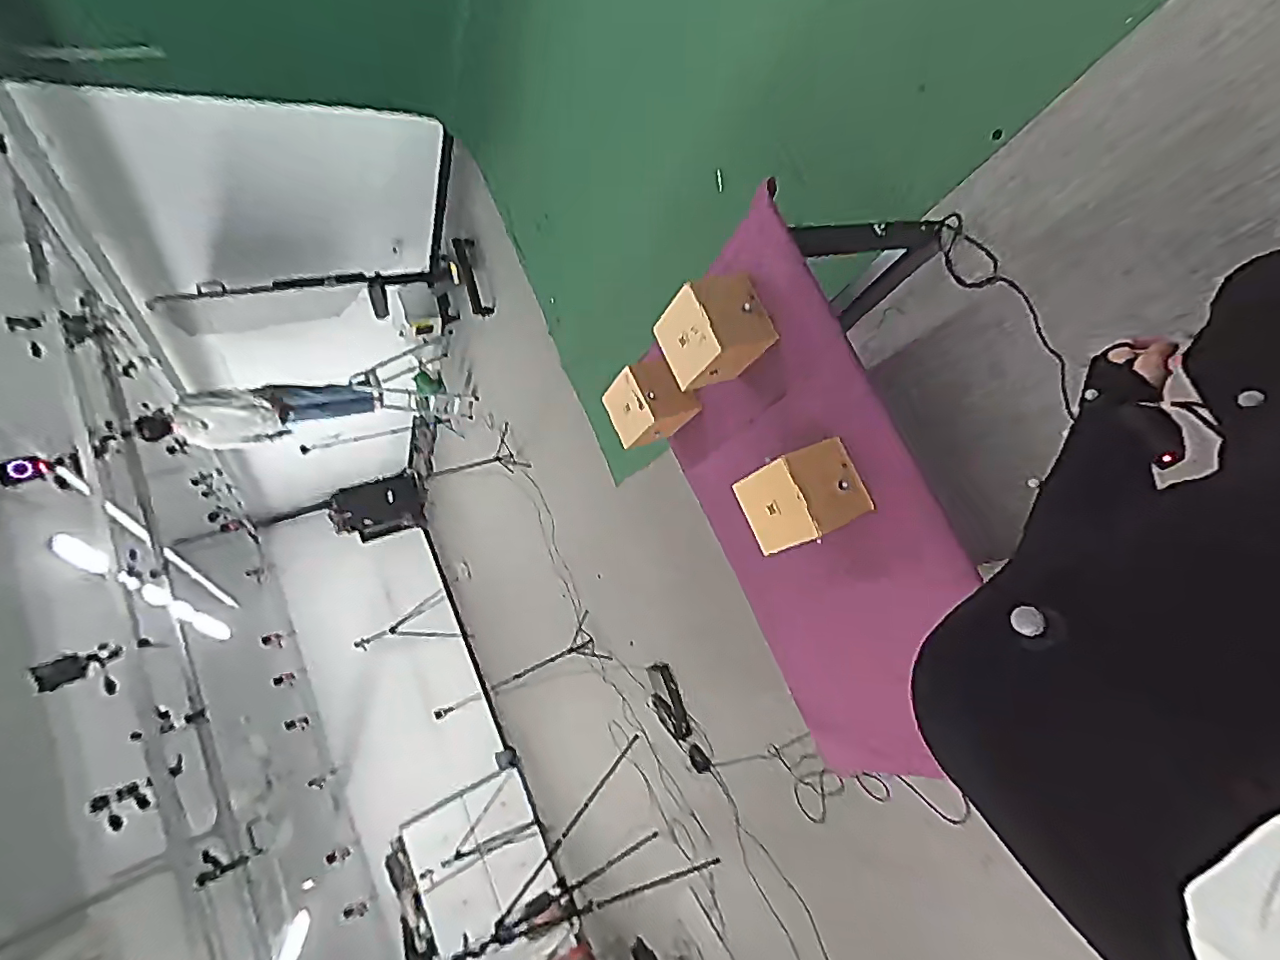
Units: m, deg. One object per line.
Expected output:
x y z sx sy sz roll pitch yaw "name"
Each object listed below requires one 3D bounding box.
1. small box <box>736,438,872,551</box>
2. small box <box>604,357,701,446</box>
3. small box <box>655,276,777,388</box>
0.337 0.030 1.122 0.179 0.176 0.168 -40 71 58 "small box"
0.034 -0.214 1.468 0.168 0.176 0.179 64 147 10 "small box"
0.167 -0.328 1.199 0.168 0.176 0.179 65 150 9 "small box"
